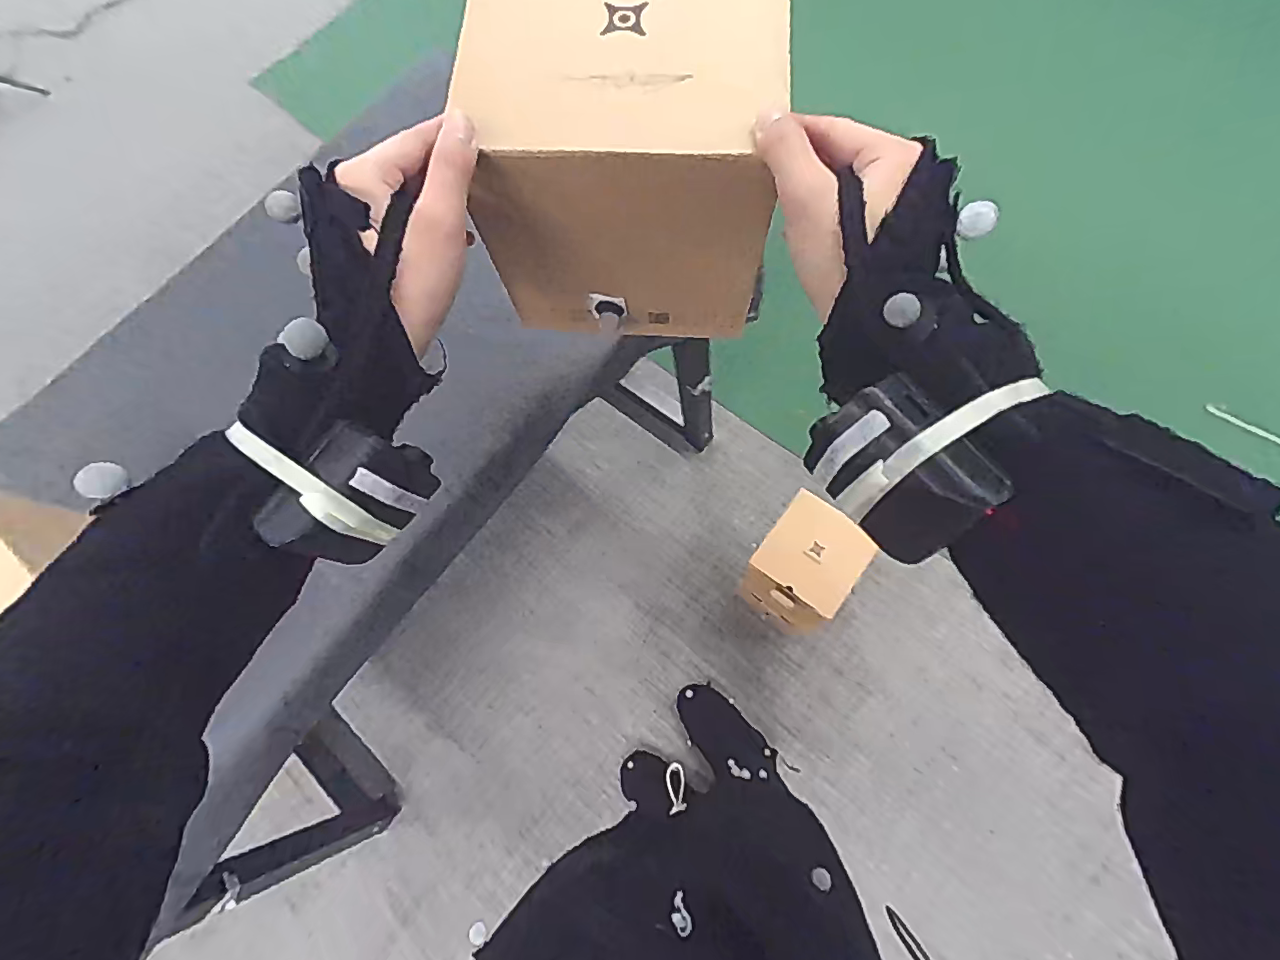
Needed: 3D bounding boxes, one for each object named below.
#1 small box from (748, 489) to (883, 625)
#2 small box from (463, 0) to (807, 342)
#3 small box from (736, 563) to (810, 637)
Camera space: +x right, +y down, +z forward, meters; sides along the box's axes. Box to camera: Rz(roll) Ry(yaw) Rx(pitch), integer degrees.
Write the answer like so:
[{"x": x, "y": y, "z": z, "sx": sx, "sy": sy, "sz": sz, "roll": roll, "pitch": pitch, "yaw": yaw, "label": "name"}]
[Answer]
[{"x": 0.315, "y": 0.150, "z": 1.013, "sx": 0.168, "sy": 0.176, "sz": 0.179, "roll": 35, "pitch": 79, "yaw": 18, "label": "small box"}, {"x": 0.006, "y": -0.214, "z": 0.354, "sx": 0.168, "sy": 0.176, "sz": 0.179, "roll": 4, "pitch": 76, "yaw": 4, "label": "small box"}, {"x": 0.324, "y": 0.218, "z": 1.163, "sx": 0.168, "sy": 0.176, "sz": 0.179, "roll": 36, "pitch": 79, "yaw": 19, "label": "small box"}]
